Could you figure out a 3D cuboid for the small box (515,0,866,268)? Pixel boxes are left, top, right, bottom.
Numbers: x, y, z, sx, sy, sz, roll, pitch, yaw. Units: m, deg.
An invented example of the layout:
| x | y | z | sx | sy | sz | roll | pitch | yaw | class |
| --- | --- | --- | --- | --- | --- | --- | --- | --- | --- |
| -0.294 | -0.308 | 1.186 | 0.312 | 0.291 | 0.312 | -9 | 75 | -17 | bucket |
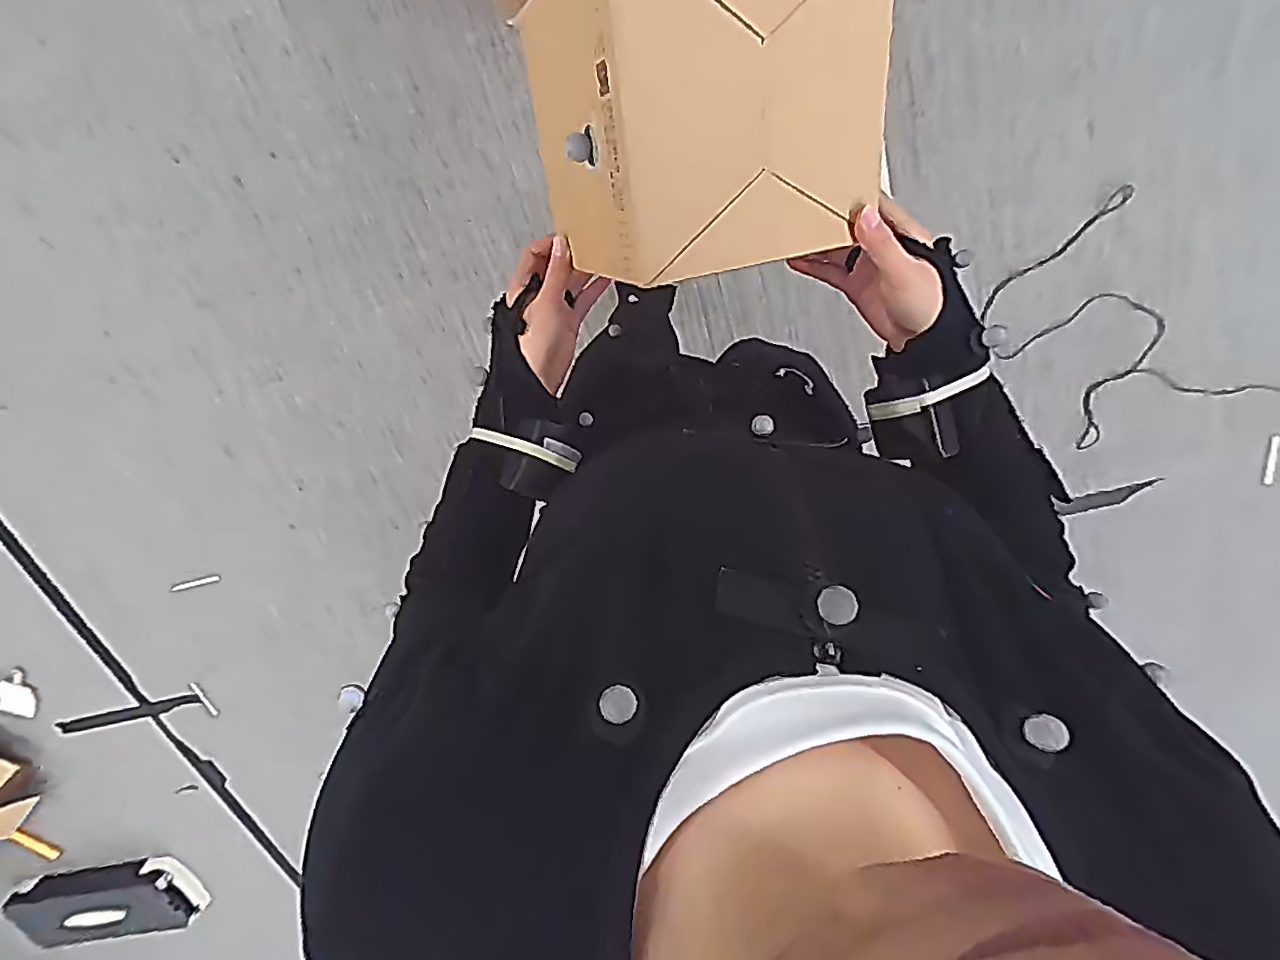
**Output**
| x | y | z | sx | sy | sz | roll | pitch | yaw | class |
| --- | --- | --- | --- | --- | --- | --- | --- | --- | --- |
| 0.034 | -0.248 | 0.370 | 0.179 | 0.176 | 0.168 | -18 | 120 | -18 | small box |
